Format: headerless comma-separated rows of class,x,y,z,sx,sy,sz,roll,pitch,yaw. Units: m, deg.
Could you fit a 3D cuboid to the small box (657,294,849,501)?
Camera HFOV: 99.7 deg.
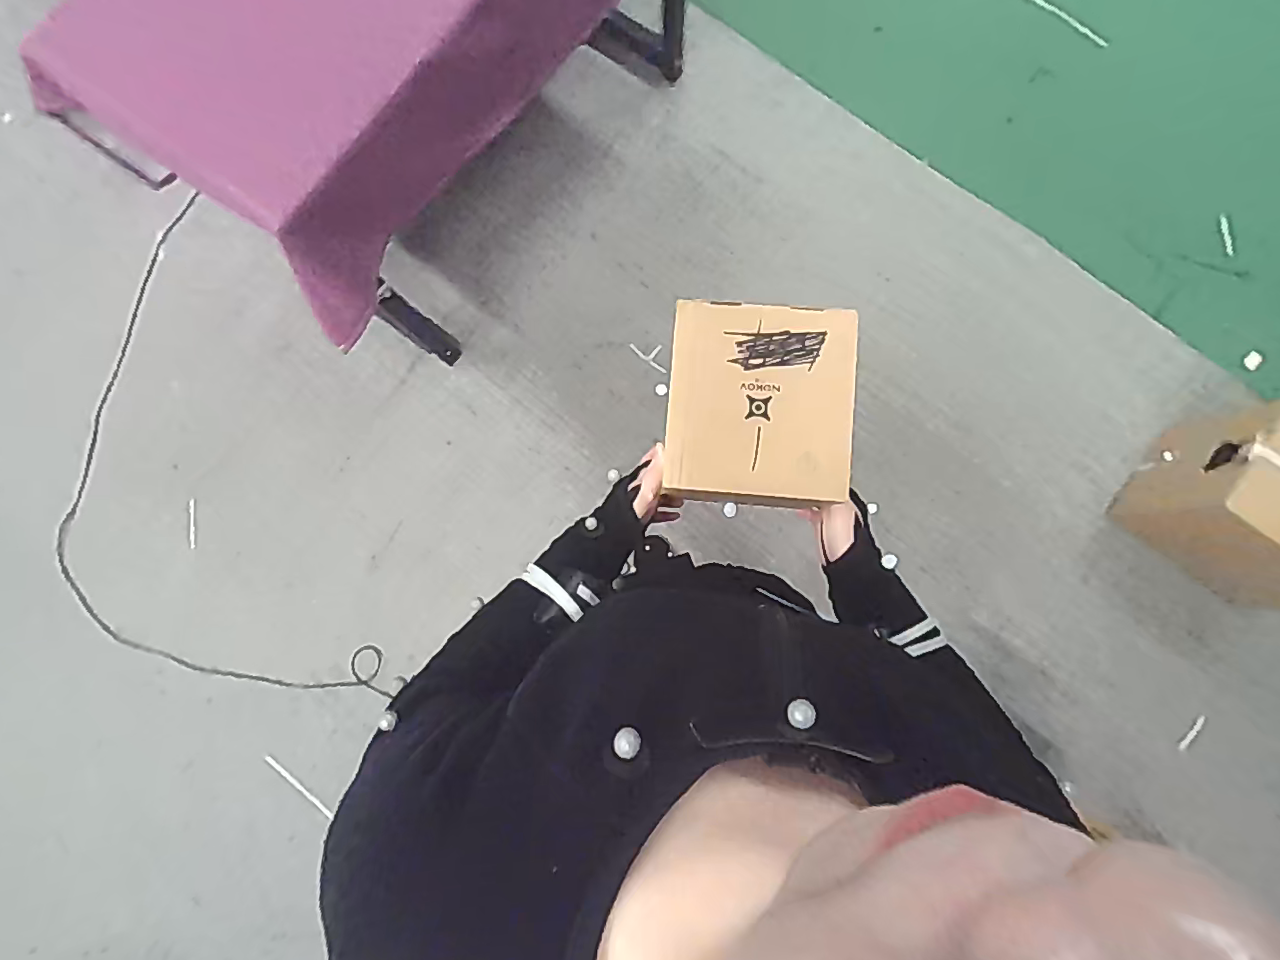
small box,0.106,-0.074,0.566,0.168,0.176,0.179,4,87,4

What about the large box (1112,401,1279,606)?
large box,1.517,0.071,1.319,0.408,0.320,0.320,38,85,5
